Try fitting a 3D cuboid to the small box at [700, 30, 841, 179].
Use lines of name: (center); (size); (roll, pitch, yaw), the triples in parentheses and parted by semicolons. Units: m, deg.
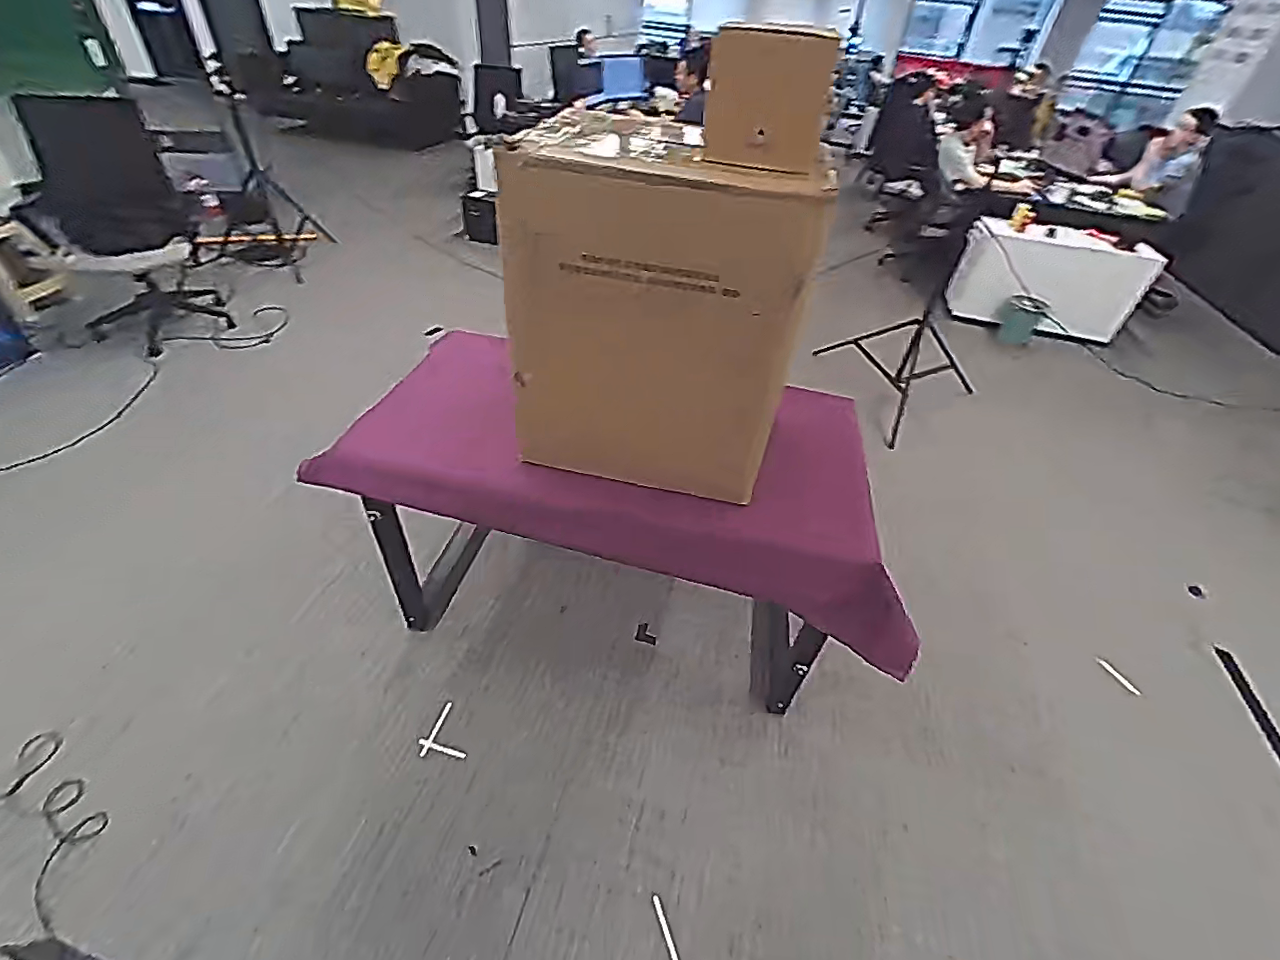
small box: (0.204, -0.594, 0.859); (0.179, 0.176, 0.168); (12, 42, 7)
